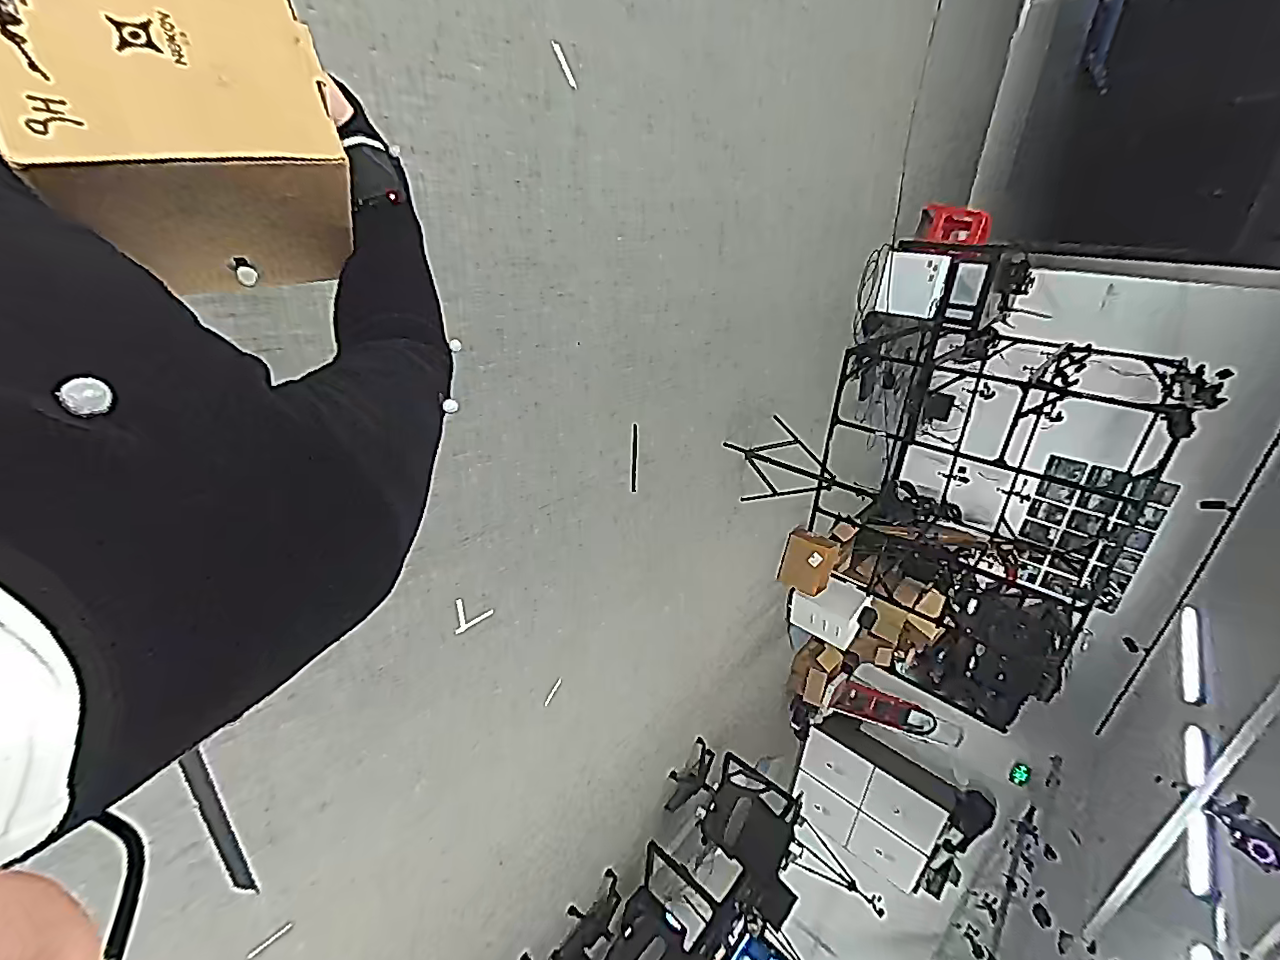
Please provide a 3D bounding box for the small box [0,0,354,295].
[{"bbox_3d":[-0.345,-0.266,0.427,0.179,0.176,0.168,-19,88,-29],"label":"small box"}]
